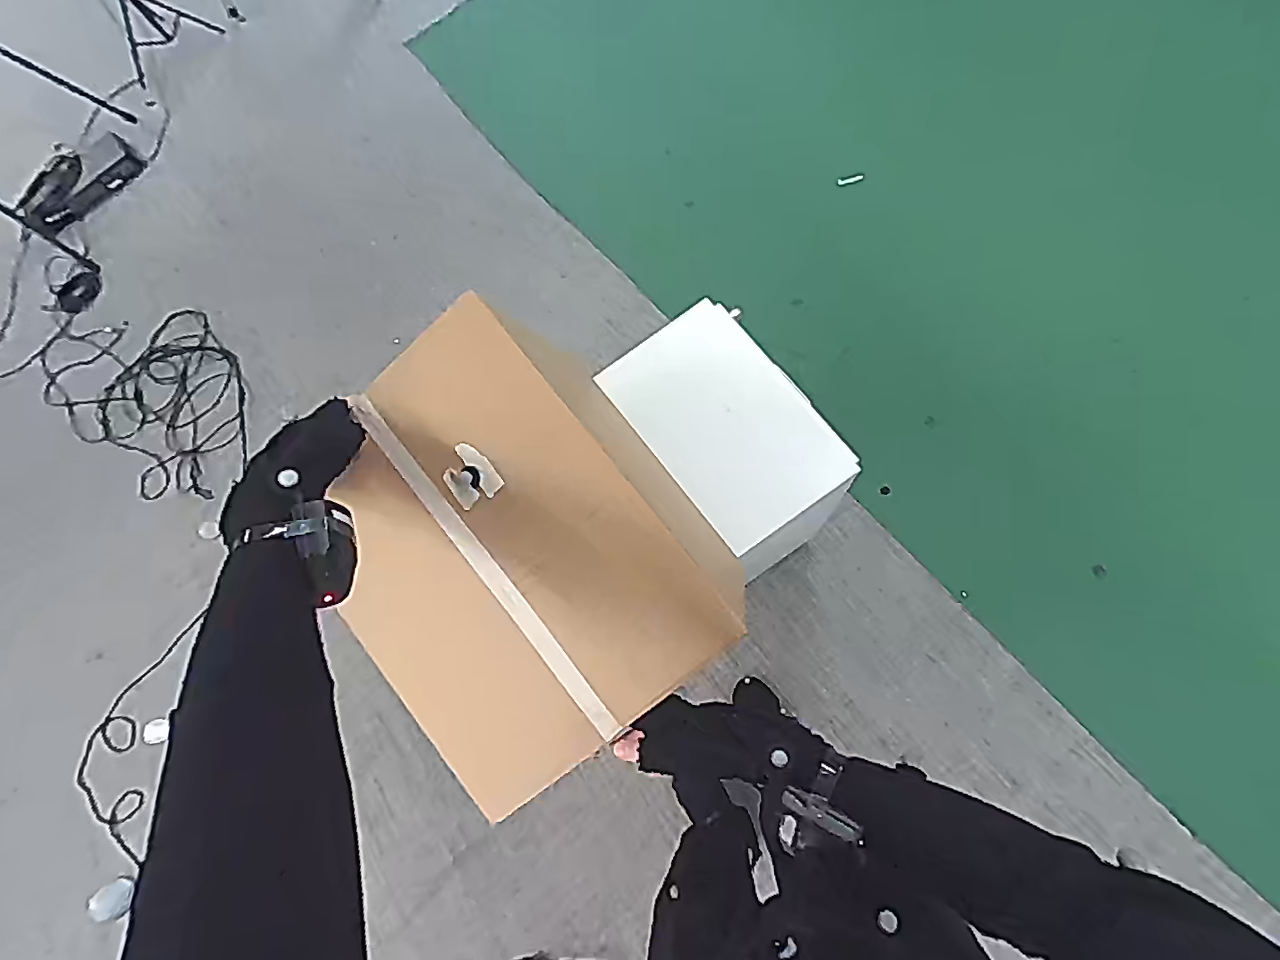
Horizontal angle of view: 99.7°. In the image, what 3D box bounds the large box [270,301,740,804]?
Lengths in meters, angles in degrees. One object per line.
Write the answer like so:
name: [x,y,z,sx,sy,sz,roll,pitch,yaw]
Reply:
large box: [-0.123,0.070,0.667,0.320,0.320,0.408,-41,82,8]
